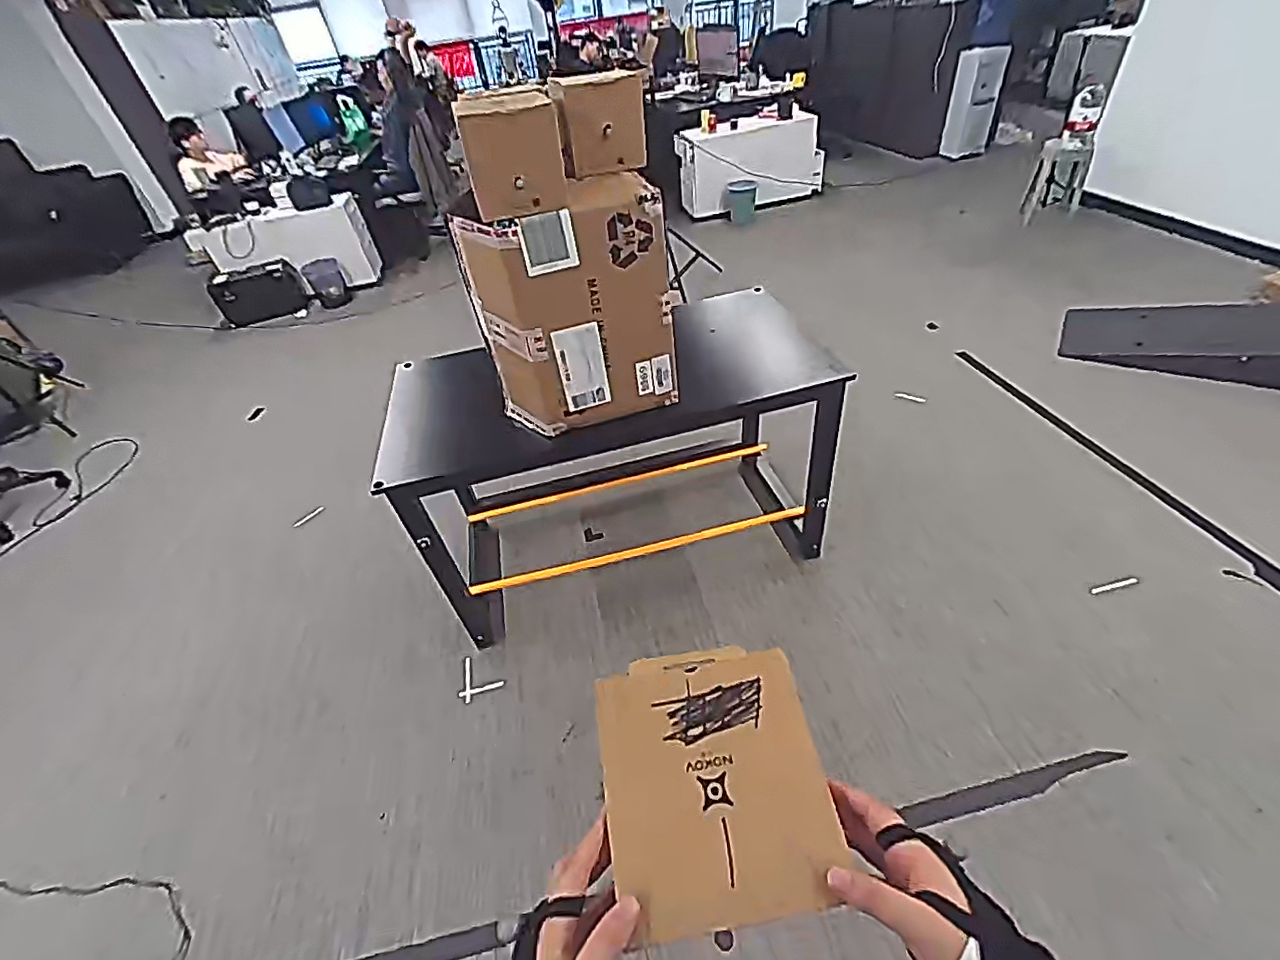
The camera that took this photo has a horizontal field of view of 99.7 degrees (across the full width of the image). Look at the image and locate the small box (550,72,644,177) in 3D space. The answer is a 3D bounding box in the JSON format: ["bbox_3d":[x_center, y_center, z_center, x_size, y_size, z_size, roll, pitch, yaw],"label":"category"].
[{"bbox_3d":[-0.093,-0.789,1.205,0.168,0.176,0.179,-14,42,-9],"label":"small box"}]

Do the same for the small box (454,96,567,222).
[{"bbox_3d":[-0.244,-0.605,1.020,0.168,0.176,0.179,-15,43,-9],"label":"small box"}]

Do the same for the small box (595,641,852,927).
[{"bbox_3d":[0.054,0.267,0.477,0.168,0.176,0.179,-9,53,-4],"label":"small box"}]
